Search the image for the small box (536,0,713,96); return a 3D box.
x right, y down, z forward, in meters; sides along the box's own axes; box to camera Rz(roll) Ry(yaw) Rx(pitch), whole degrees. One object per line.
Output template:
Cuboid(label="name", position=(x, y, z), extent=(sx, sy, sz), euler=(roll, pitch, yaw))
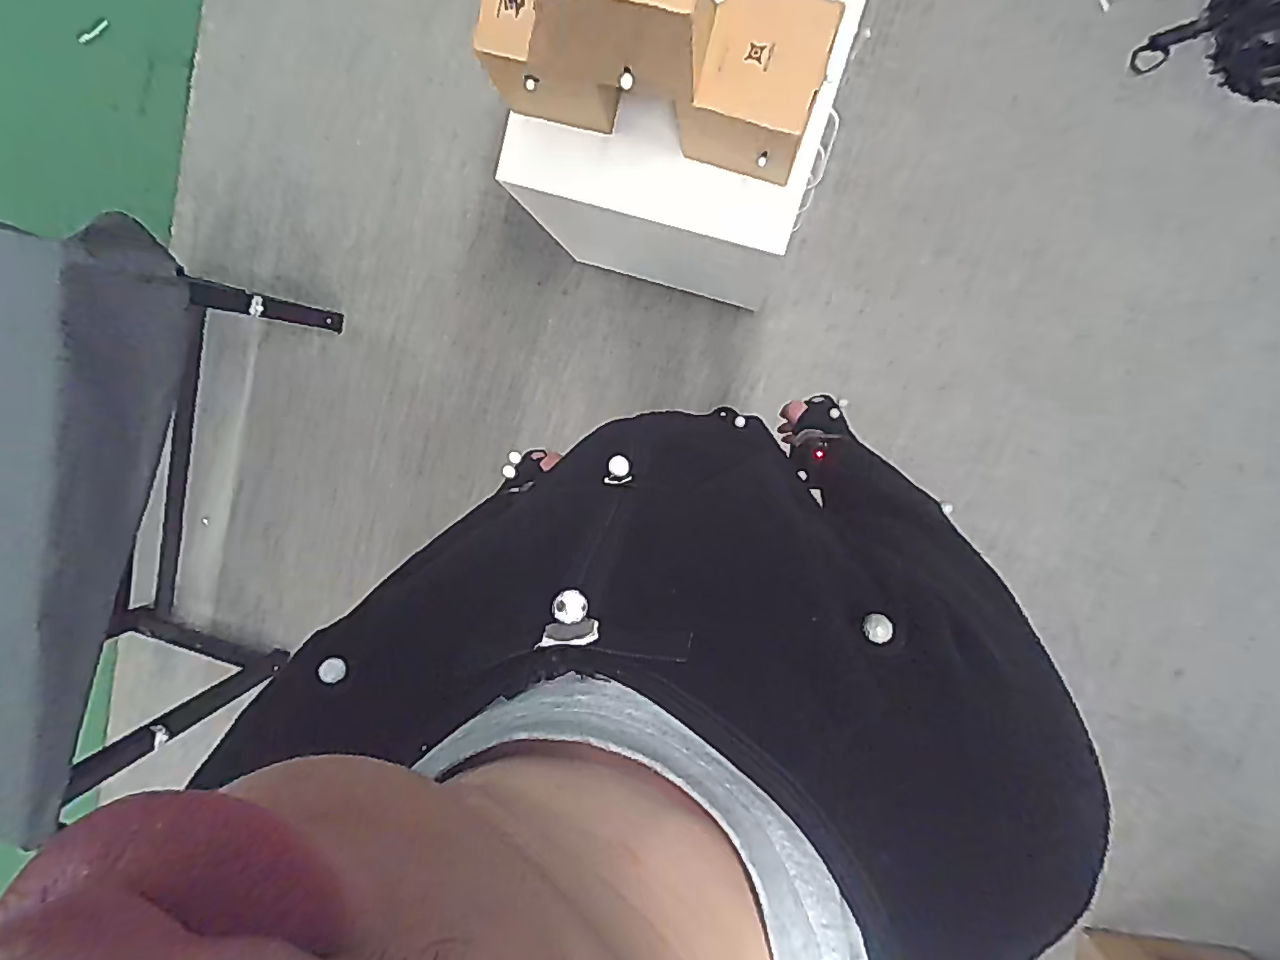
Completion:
Cuboid(label="small box", position=(-0.005, -0.583, 0.623), extent=(0.179, 0.176, 0.168), euler=(15, 99, 4))

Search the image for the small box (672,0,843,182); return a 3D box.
Cuboid(label="small box", position=(0.160, -0.555, 0.771), extent=(0.179, 0.176, 0.168), euler=(19, 99, 7))

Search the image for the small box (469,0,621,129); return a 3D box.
Cuboid(label="small box", position=(-0.121, -0.652, 0.793), extent=(0.179, 0.176, 0.168), euler=(16, 100, 4))
